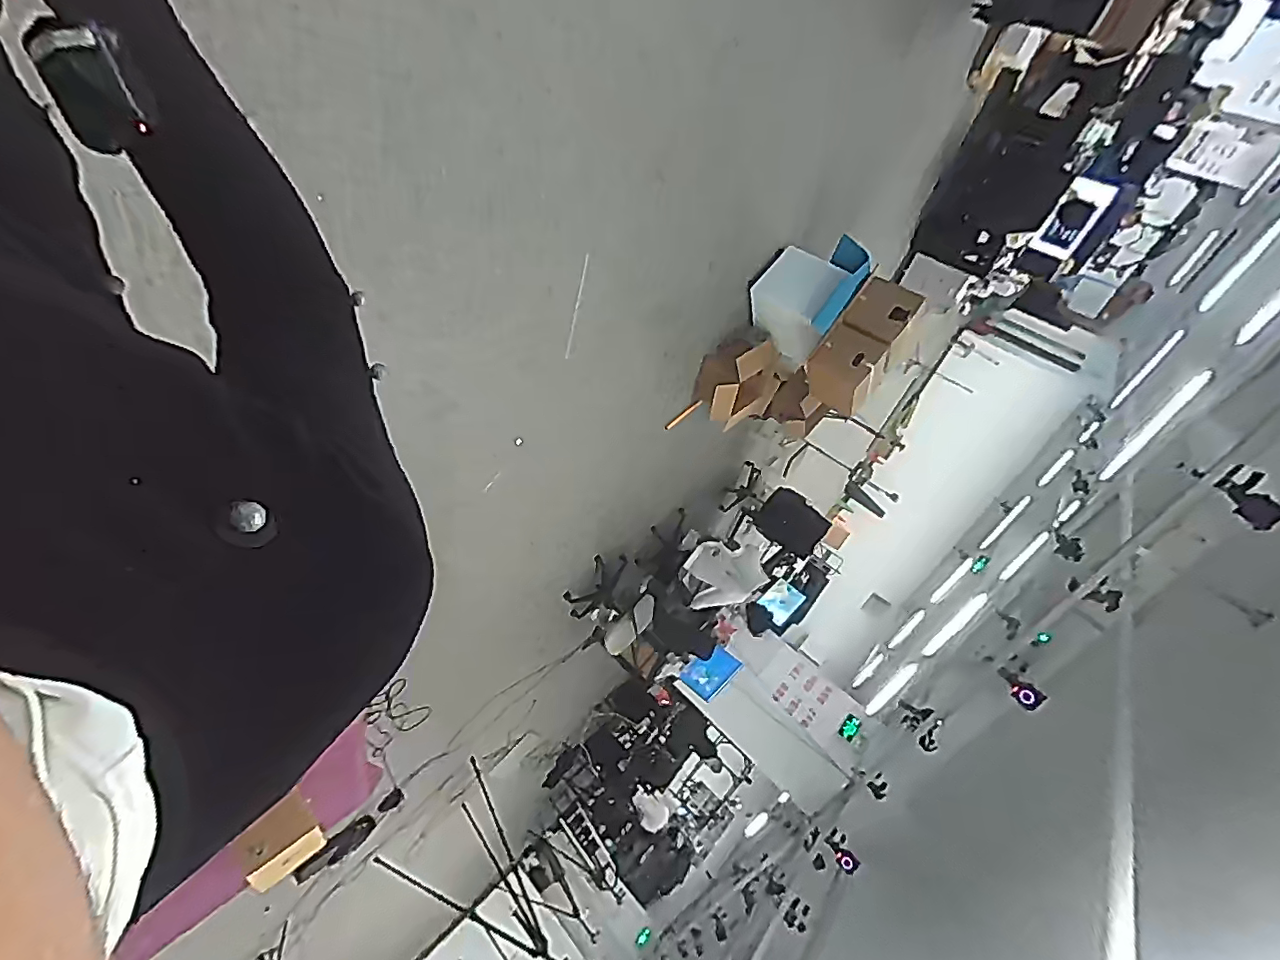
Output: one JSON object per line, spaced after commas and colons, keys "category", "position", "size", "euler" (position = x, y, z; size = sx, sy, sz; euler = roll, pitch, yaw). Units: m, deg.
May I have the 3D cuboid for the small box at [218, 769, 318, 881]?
{"category": "small box", "position": [-1.039, 0.957, 1.508], "size": [0.179, 0.176, 0.168], "euler": [-30, 150, -41]}
